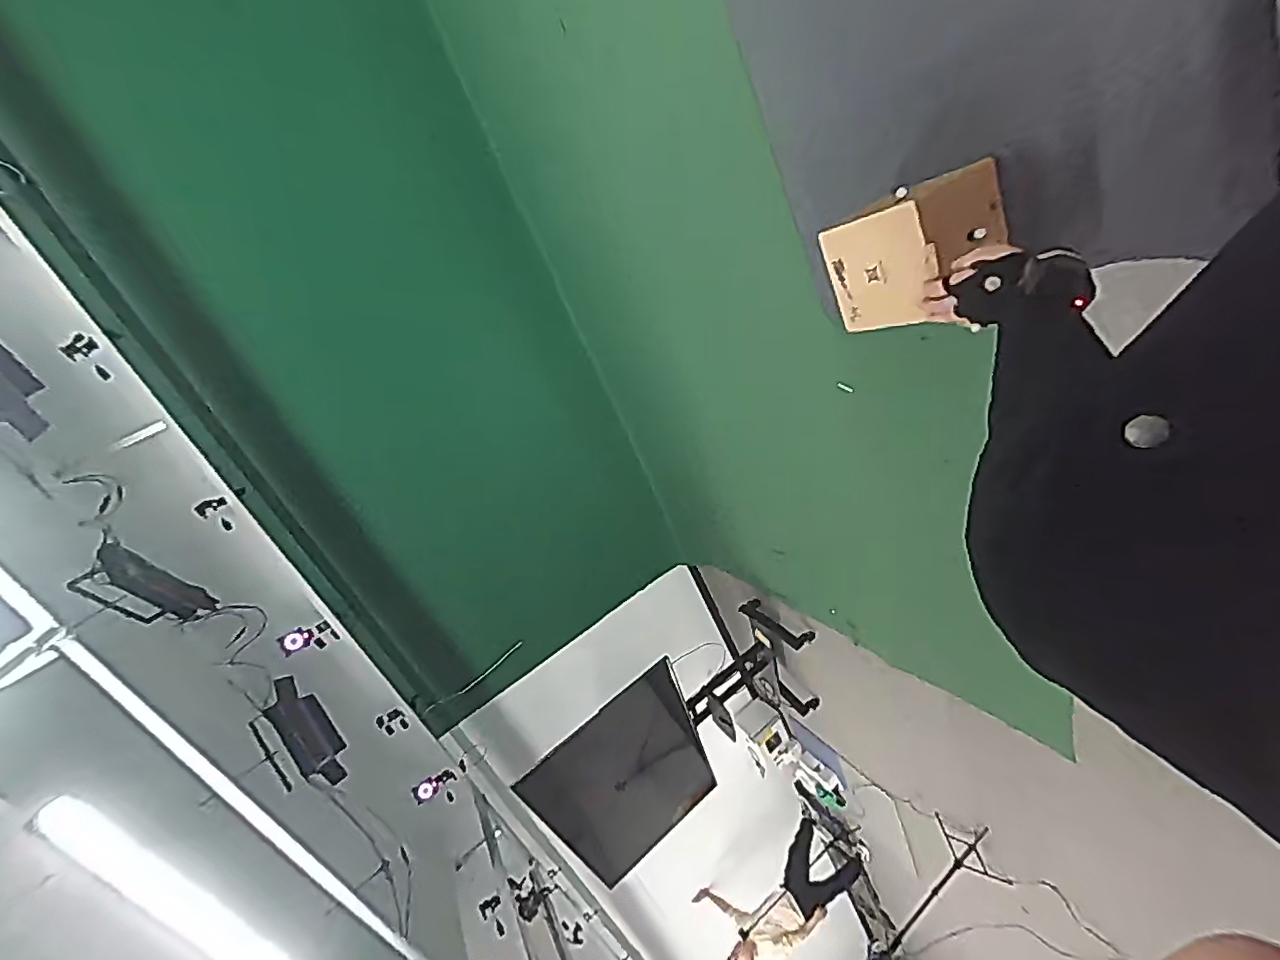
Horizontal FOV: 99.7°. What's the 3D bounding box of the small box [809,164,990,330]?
[{"bbox_3d":[0.397,-0.346,0.819,0.179,0.176,0.168,16,135,61],"label":"small box"}]
